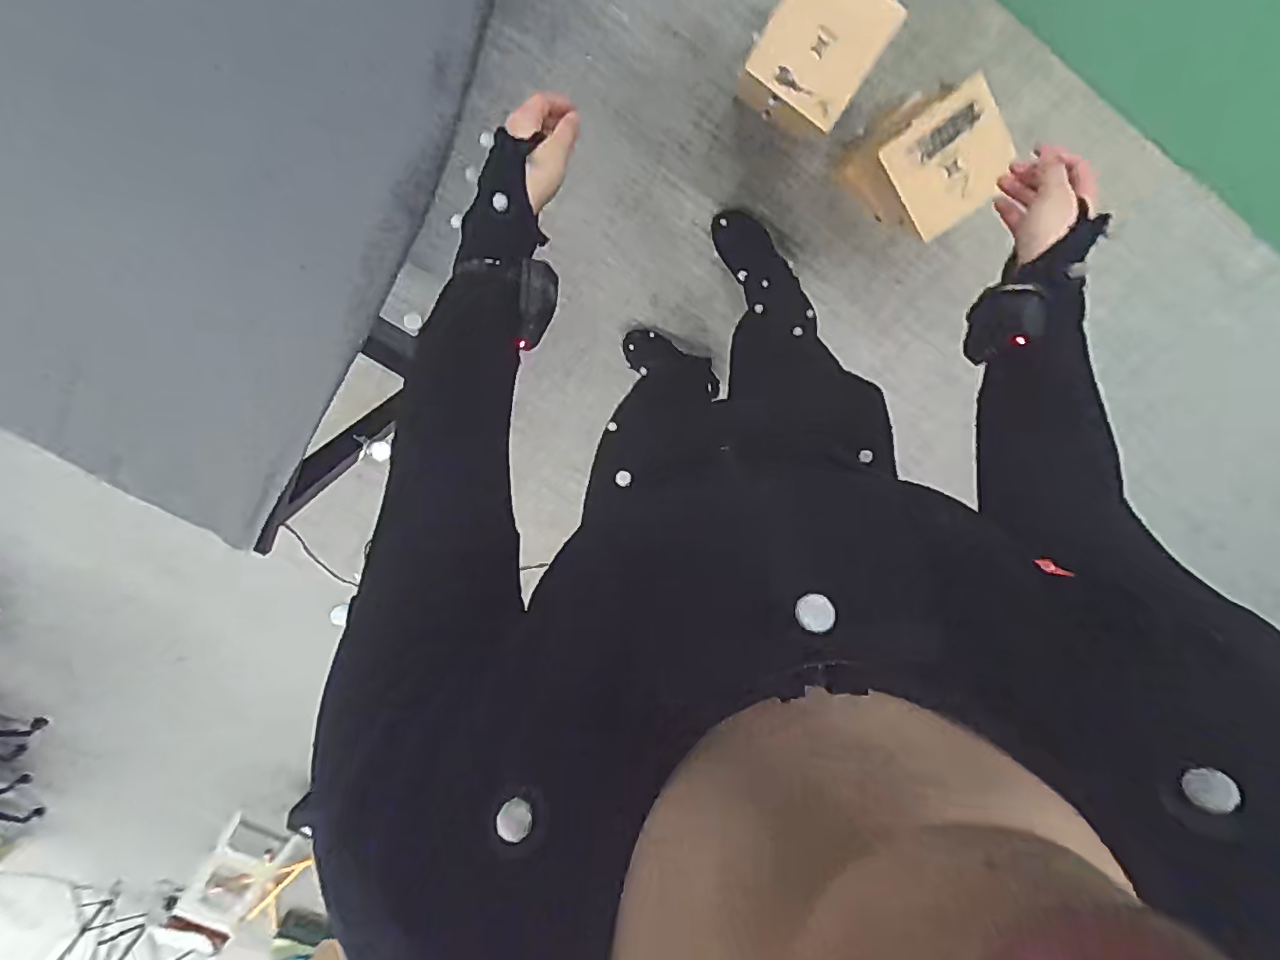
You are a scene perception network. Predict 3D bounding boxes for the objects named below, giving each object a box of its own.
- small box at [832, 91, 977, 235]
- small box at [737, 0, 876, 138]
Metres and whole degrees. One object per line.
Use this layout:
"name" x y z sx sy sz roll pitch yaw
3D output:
"small box" 0.509 -0.619 1.064 0.179 0.176 0.168 39 117 -15
"small box" 0.298 -0.769 1.005 0.179 0.176 0.168 30 119 -9
